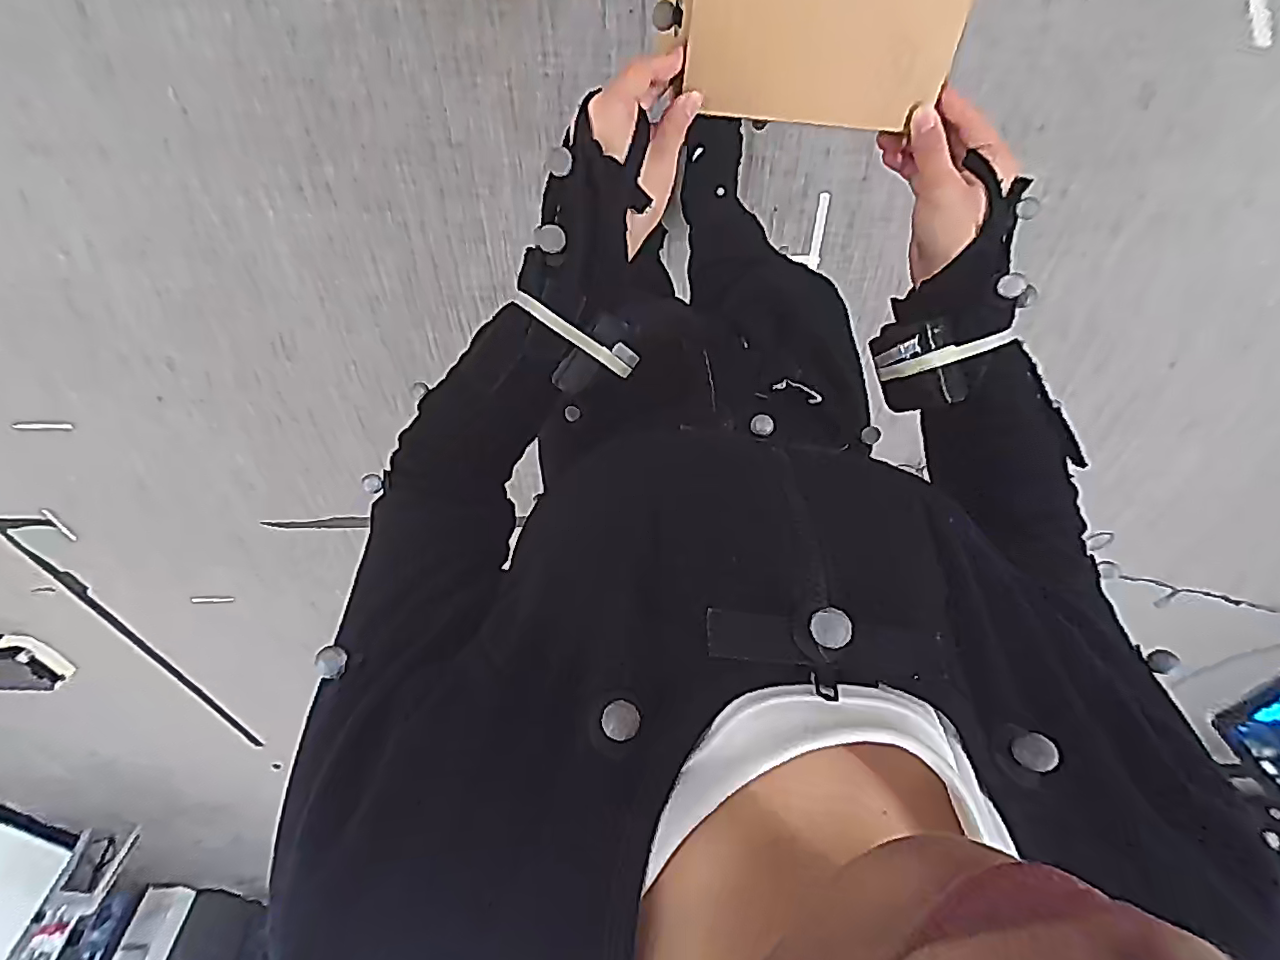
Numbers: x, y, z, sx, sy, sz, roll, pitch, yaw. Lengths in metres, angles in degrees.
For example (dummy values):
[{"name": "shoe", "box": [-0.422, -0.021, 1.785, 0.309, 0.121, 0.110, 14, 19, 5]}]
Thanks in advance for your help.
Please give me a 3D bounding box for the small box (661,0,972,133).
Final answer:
[{"name": "small box", "box": [0.109, -0.349, 0.352, 0.168, 0.176, 0.179, 1, 131, -7]}]
